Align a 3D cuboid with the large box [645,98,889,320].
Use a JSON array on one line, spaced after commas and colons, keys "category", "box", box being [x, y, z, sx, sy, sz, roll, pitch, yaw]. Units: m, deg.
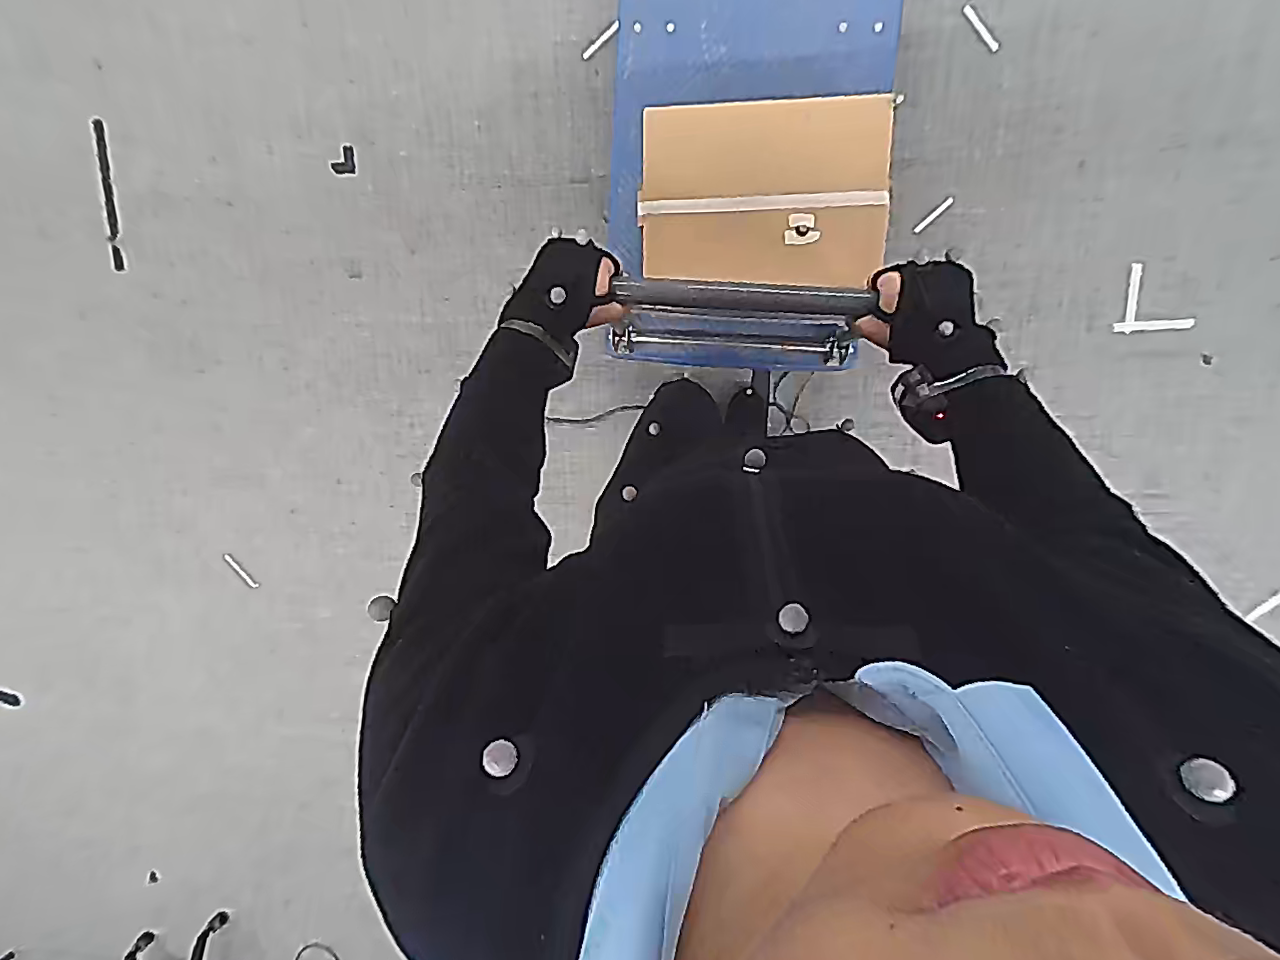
[{"category": "large box", "box": [0.222, -0.496, 1.067, 0.408, 0.320, 0.320, 1, 101, 6]}]
